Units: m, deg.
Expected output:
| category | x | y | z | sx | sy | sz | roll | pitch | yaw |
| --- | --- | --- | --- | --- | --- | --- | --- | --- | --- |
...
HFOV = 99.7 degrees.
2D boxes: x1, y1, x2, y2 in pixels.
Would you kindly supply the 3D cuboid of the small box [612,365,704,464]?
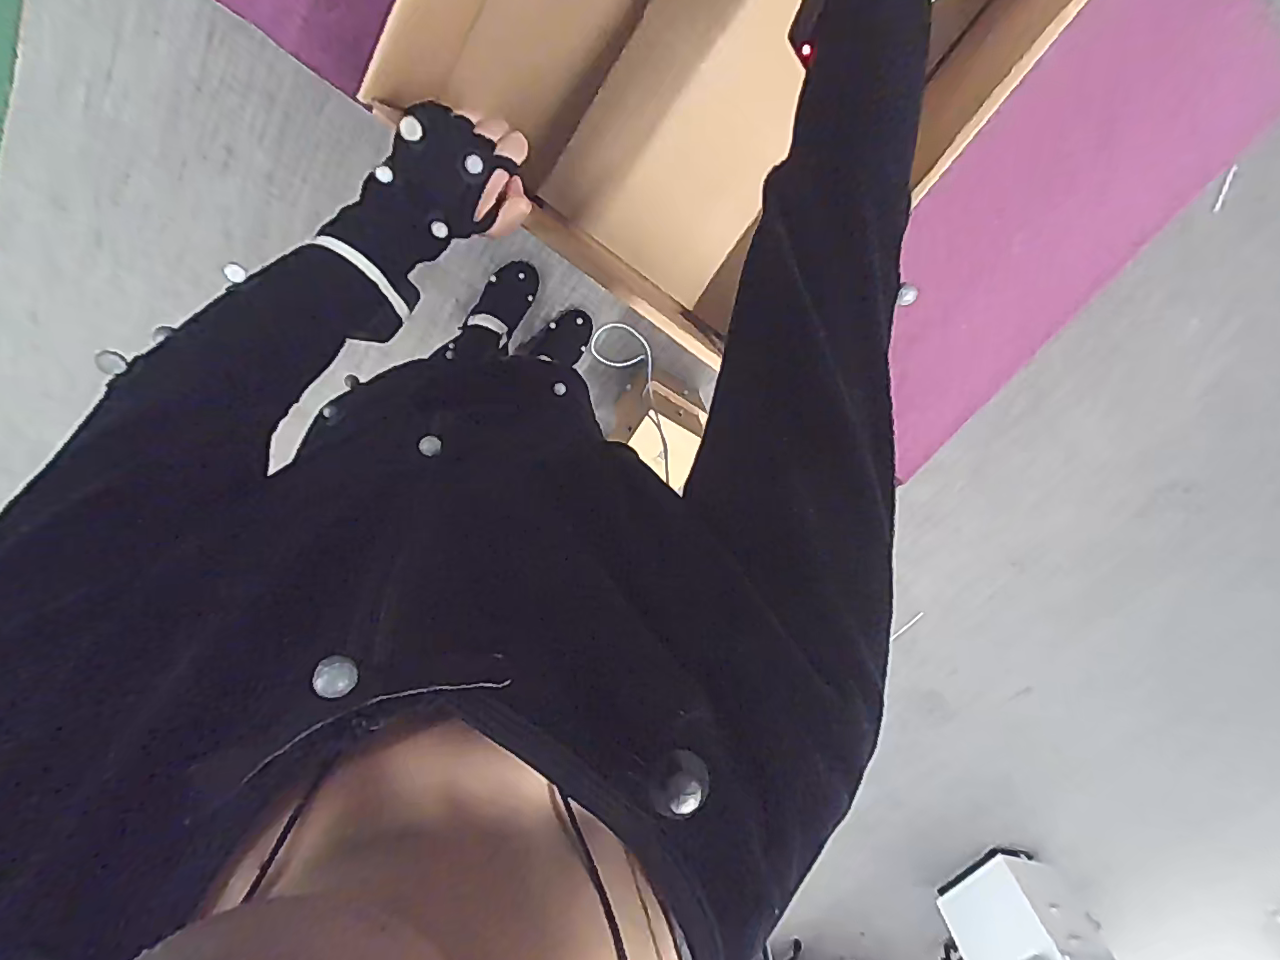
| category | x | y | z | sx | sy | sz | roll | pitch | yaw |
| --- | --- | --- | --- | --- | --- | --- | --- | --- | --- |
| small box | 0.041 | -0.179 | 1.423 | 0.179 | 0.176 | 0.168 | 30 | 112 | -18 |
